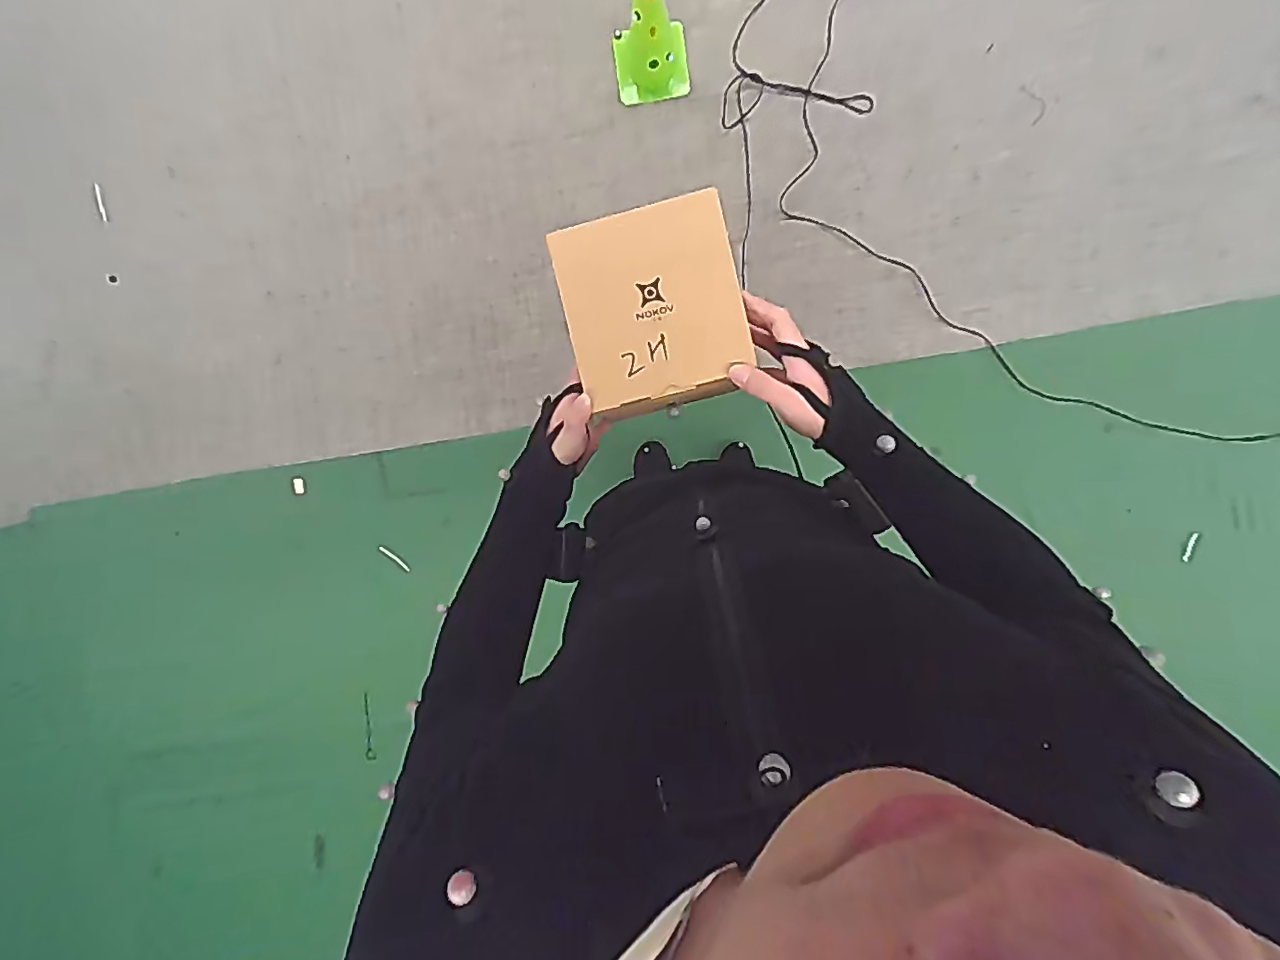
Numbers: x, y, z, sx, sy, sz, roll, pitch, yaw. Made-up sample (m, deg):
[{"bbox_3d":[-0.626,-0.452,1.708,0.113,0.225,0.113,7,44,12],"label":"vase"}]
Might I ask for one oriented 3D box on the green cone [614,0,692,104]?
[{"bbox_3d":[0.031,-1.149,1.337,0.202,0.368,0.200,-8,95,2],"label":"green cone"}]
